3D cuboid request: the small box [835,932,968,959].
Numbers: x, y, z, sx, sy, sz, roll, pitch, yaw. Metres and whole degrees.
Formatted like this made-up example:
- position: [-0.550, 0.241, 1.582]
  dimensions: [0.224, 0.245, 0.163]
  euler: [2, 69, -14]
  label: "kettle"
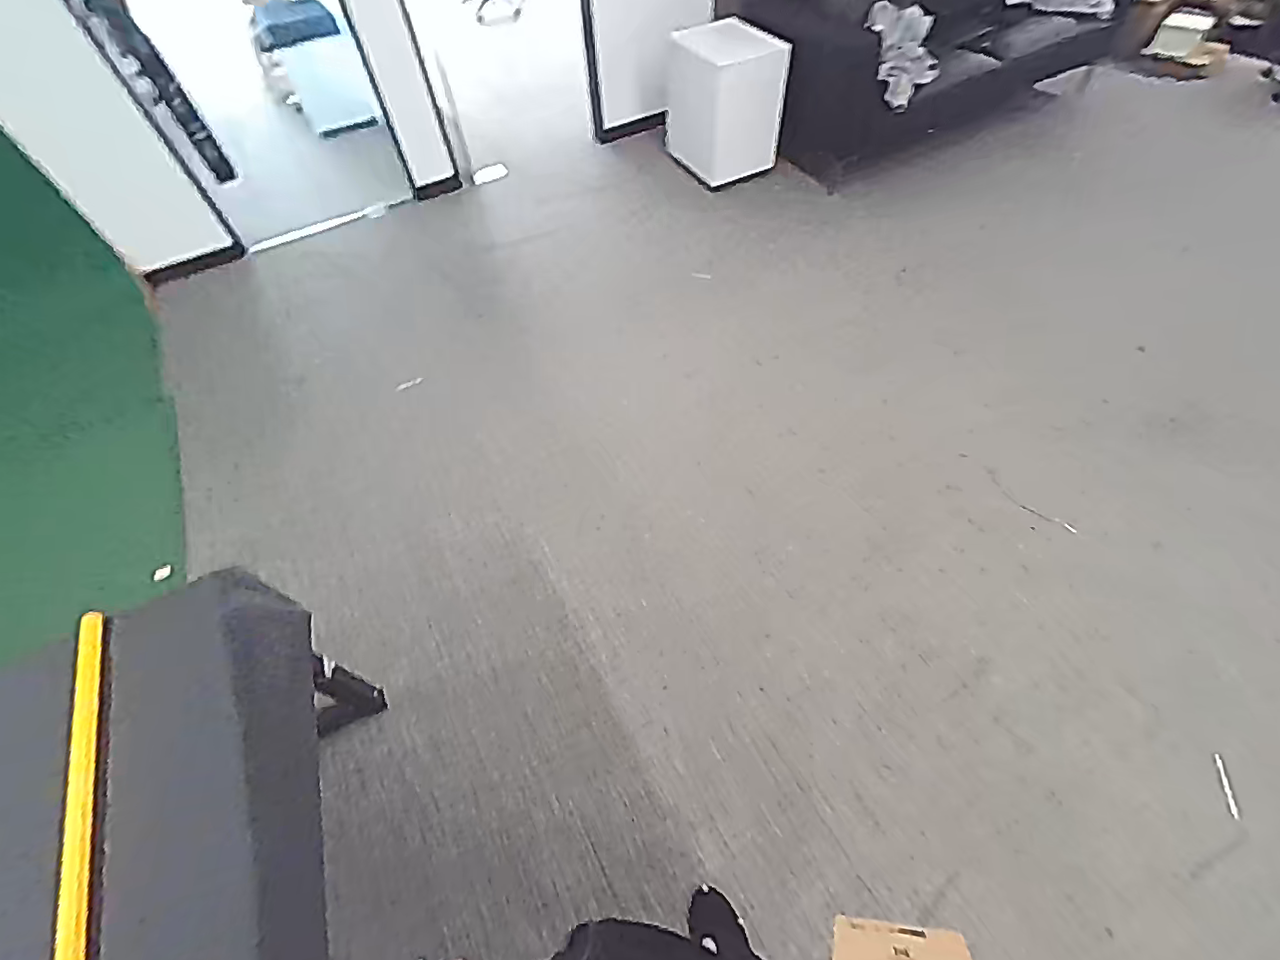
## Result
- position: [0.333, 0.692, 0.651]
  dimensions: [0.168, 0.179, 0.176]
  euler: [-8, 71, 17]
  label: "small box"
